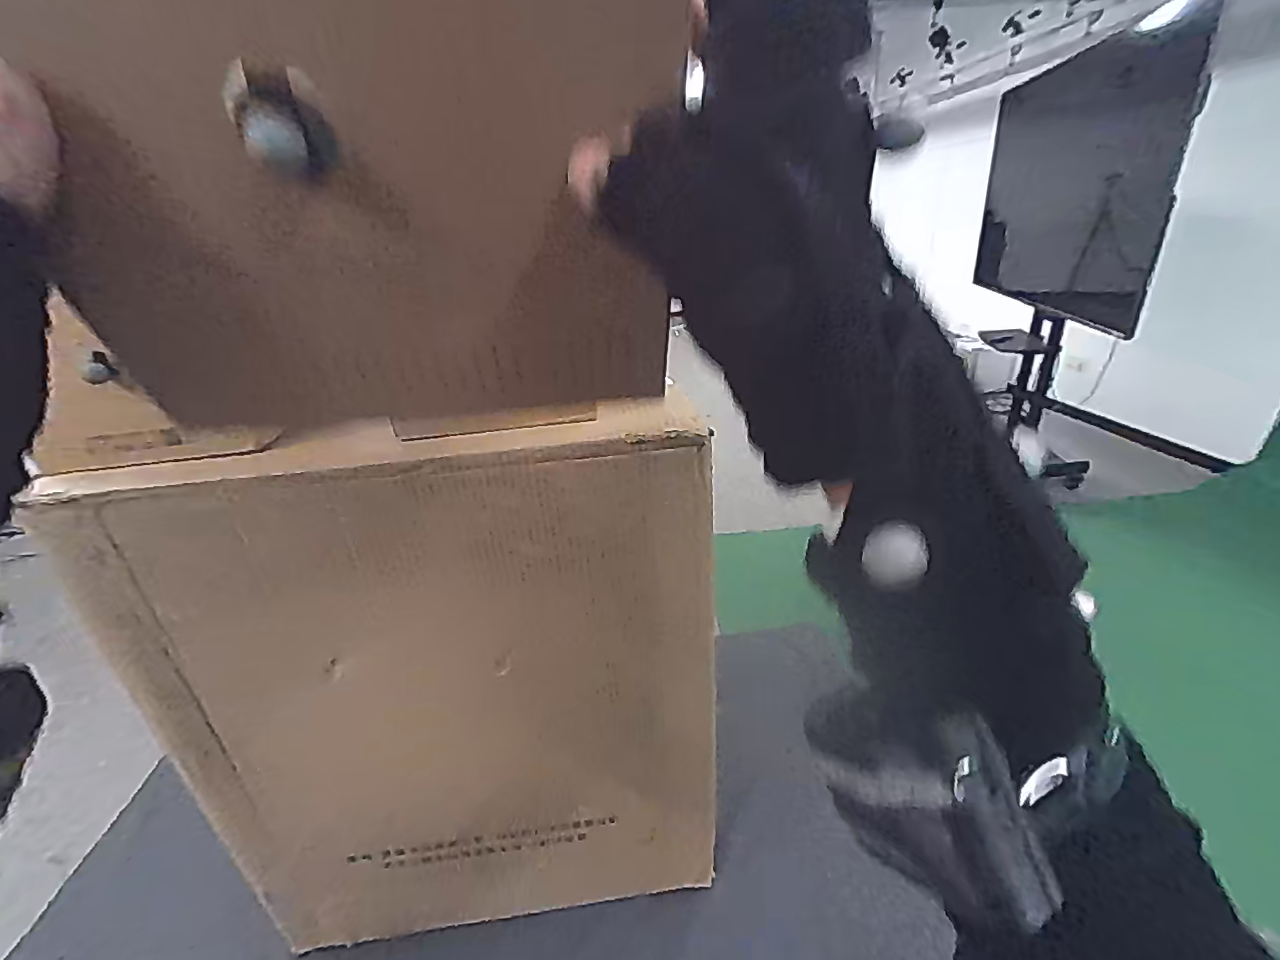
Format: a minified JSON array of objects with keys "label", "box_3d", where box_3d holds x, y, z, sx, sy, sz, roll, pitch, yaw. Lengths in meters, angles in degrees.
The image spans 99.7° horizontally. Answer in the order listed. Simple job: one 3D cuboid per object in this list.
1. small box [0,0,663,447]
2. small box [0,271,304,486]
[{"label":"small box","box_3d":[-0.089,-0.129,0.214,0.179,0.176,0.168,-4,49,-4]},{"label":"small box","box_3d":[-0.400,-0.103,0.483,0.168,0.176,0.179,-10,27,-7]}]
